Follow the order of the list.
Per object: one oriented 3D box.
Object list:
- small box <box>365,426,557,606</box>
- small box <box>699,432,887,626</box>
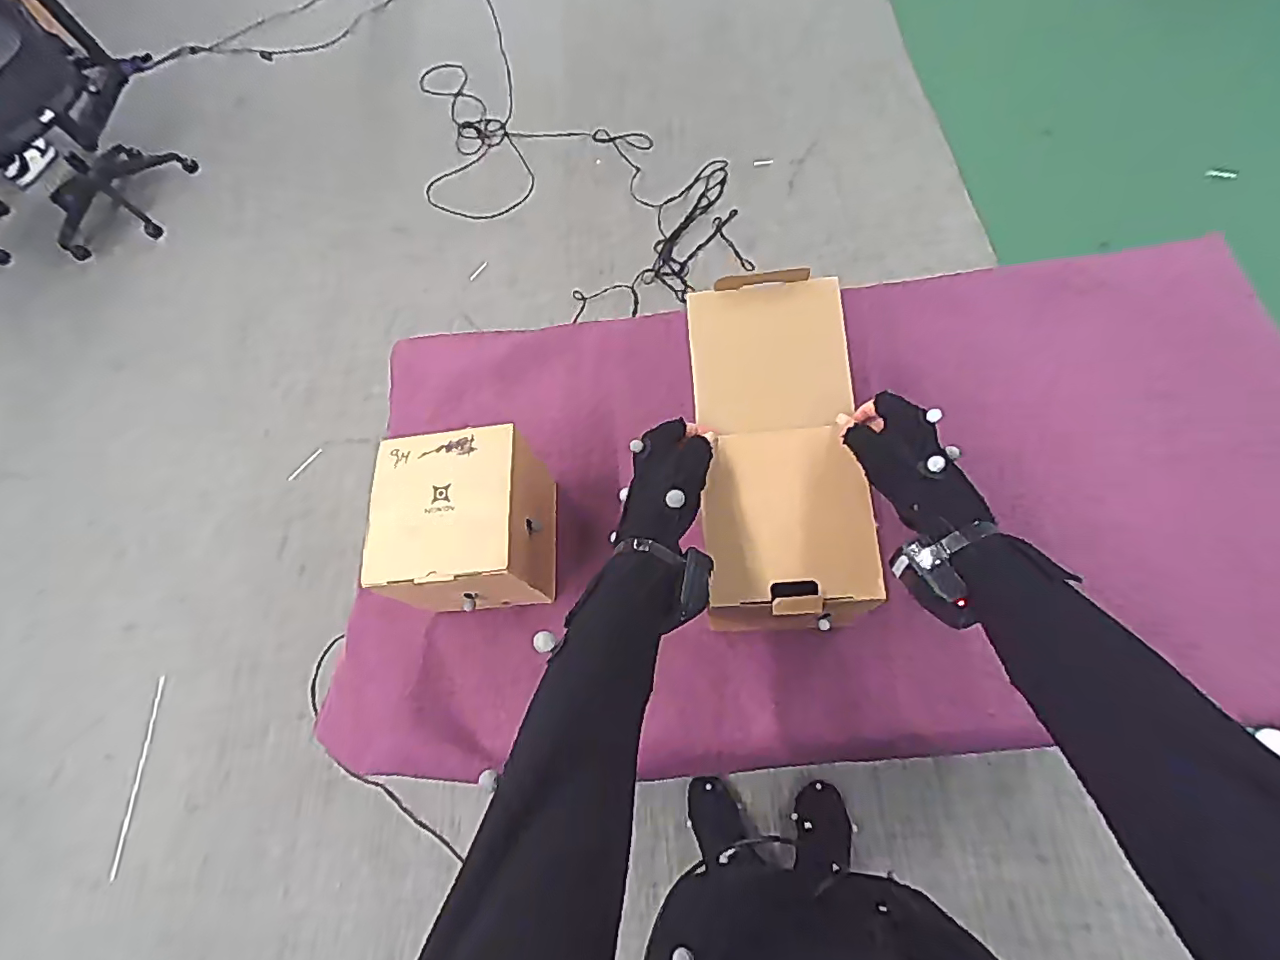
[{"bbox_3d":[-0.204,0.056,0.666,0.168,0.176,0.179,-6,67,6],"label":"small box"},{"bbox_3d":[0.156,0.066,0.602,0.168,0.176,0.179,-4,66,8],"label":"small box"}]
